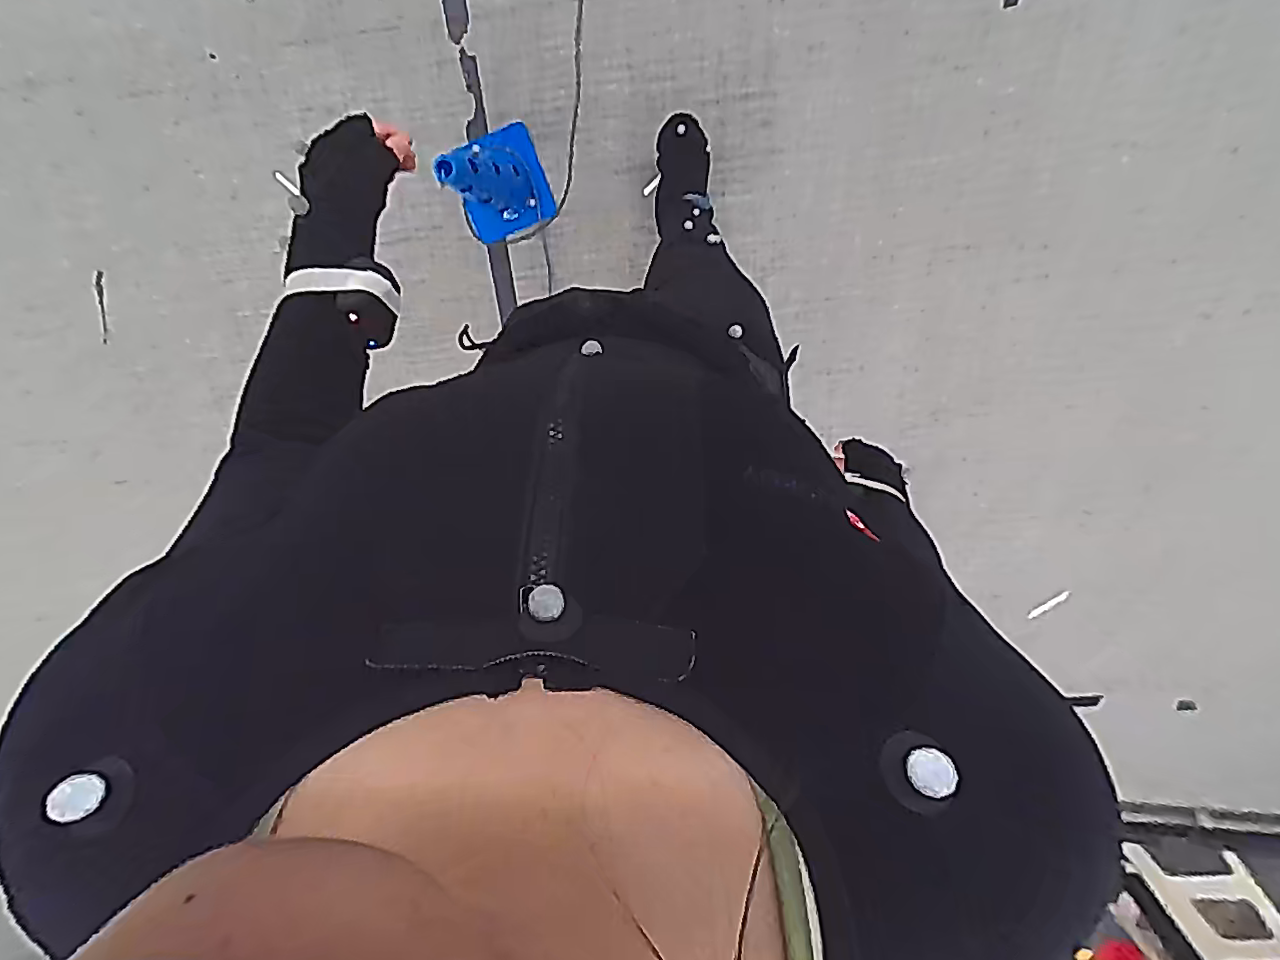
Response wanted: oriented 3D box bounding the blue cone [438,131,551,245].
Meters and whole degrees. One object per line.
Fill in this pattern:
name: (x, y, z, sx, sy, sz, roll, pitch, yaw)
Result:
blue cone: (-0.318, -0.589, 1.061, 0.193, 0.380, 0.192, -19, 112, 10)
